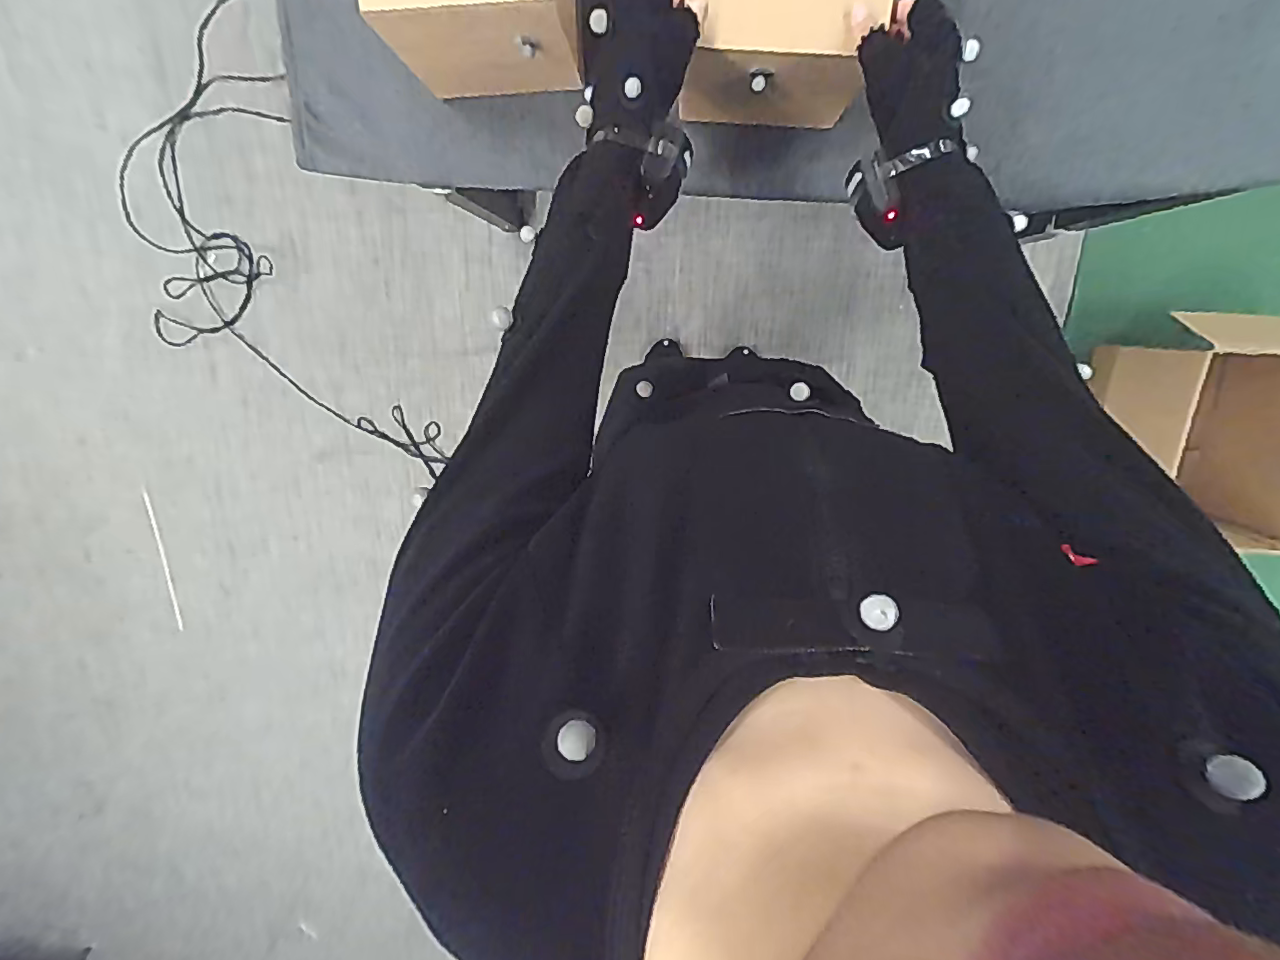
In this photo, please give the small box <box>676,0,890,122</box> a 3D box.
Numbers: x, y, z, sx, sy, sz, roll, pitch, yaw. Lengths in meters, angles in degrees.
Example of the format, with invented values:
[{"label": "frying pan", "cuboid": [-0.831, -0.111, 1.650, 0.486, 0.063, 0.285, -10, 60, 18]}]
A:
[{"label": "small box", "cuboid": [0.129, -0.464, 0.514, 0.179, 0.176, 0.168, 5, 106, 3]}]
